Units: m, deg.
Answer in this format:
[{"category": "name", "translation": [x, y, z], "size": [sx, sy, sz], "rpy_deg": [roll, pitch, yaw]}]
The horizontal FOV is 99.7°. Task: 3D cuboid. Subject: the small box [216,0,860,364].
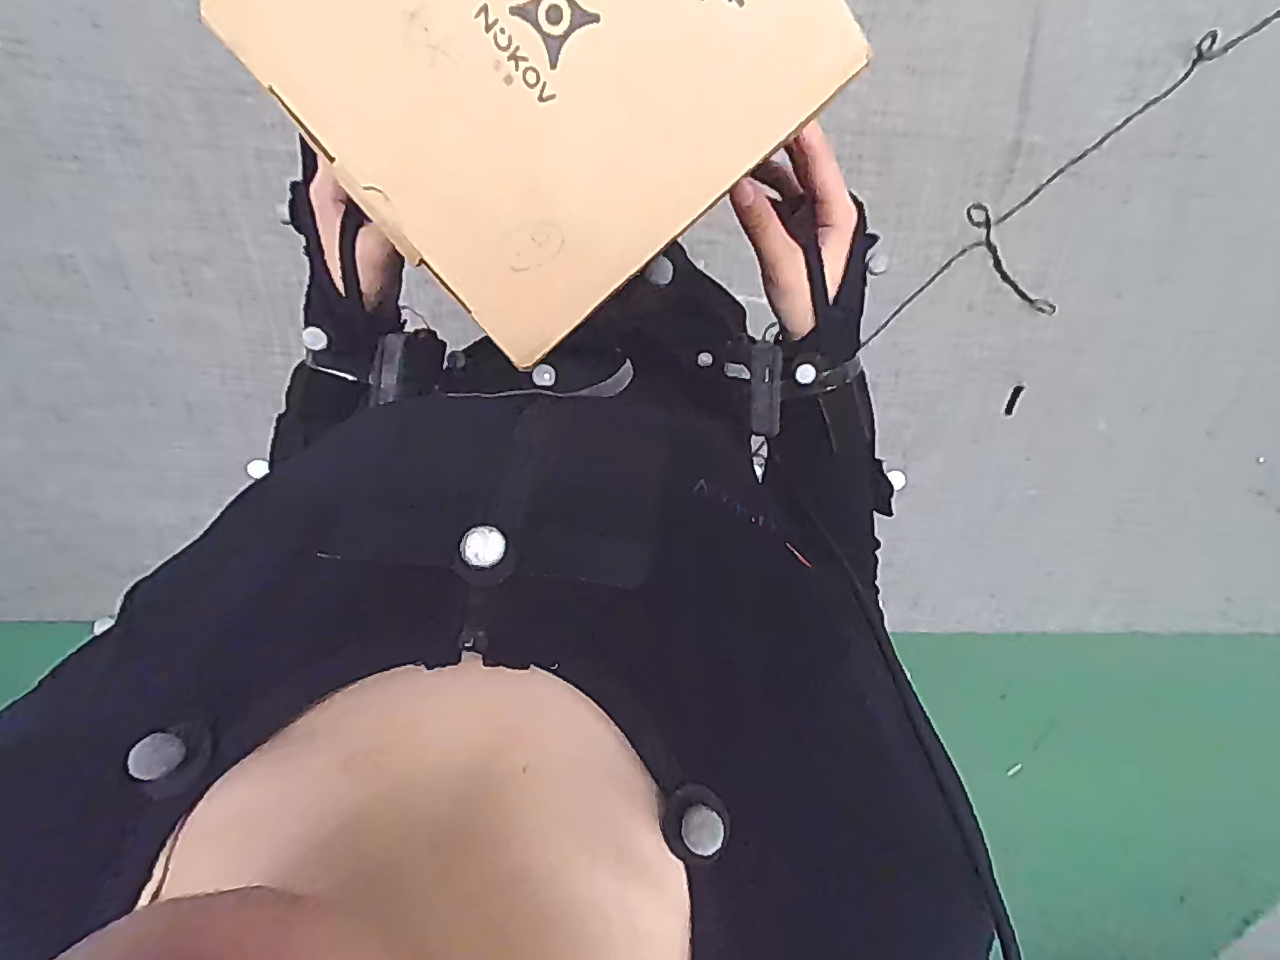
[{"category": "small box", "translation": [-0.034, -0.185, 0.265], "size": [0.179, 0.176, 0.168], "rpy_deg": [-37, 106, 16]}]
